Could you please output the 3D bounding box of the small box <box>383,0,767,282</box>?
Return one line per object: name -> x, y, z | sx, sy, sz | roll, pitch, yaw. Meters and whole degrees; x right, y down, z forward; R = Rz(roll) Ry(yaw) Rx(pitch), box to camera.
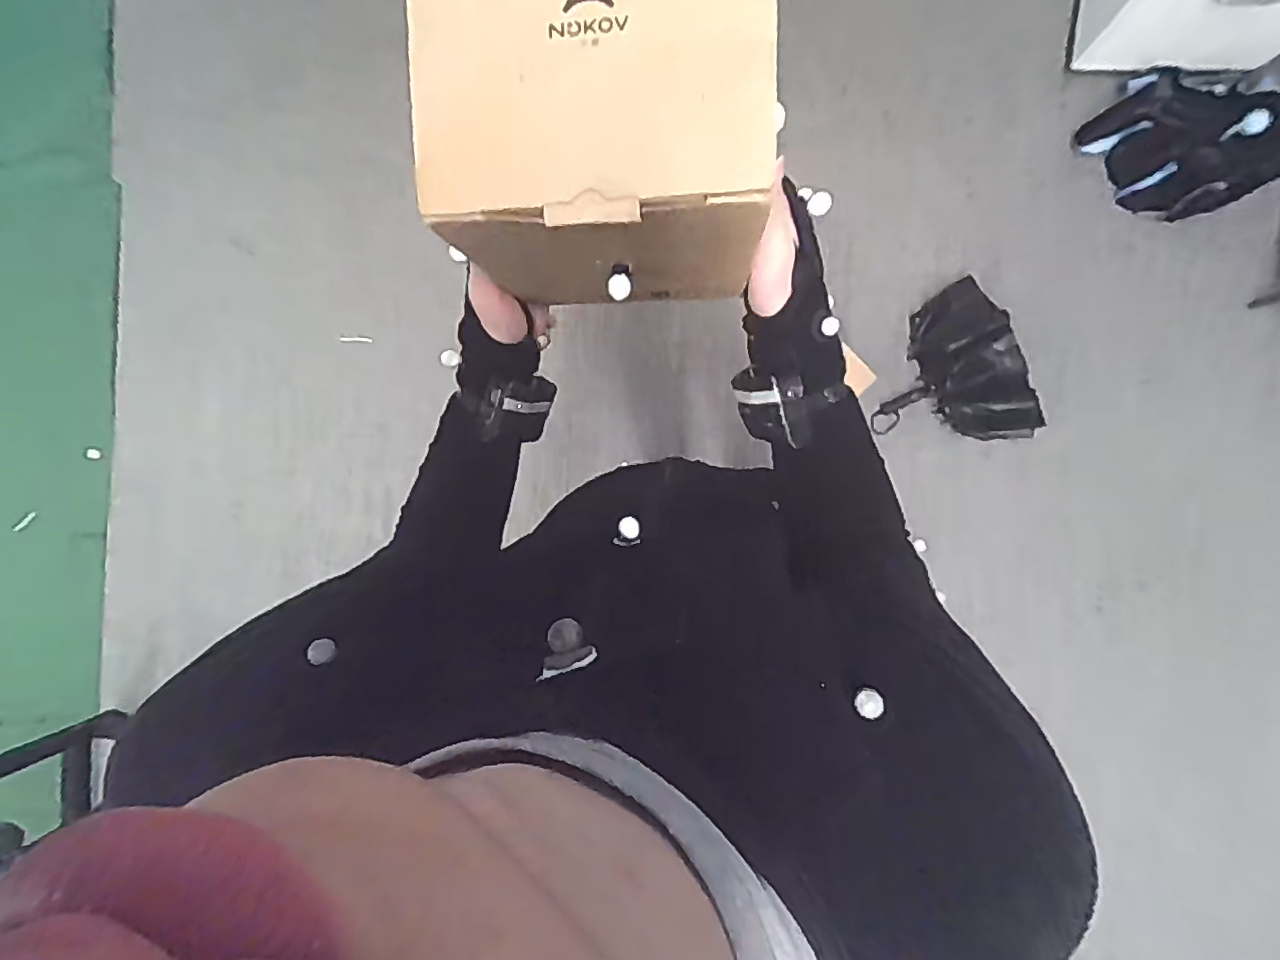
small box -> -0.022, -0.216, 0.304 | 0.168, 0.176, 0.179 | 0, 97, 4
